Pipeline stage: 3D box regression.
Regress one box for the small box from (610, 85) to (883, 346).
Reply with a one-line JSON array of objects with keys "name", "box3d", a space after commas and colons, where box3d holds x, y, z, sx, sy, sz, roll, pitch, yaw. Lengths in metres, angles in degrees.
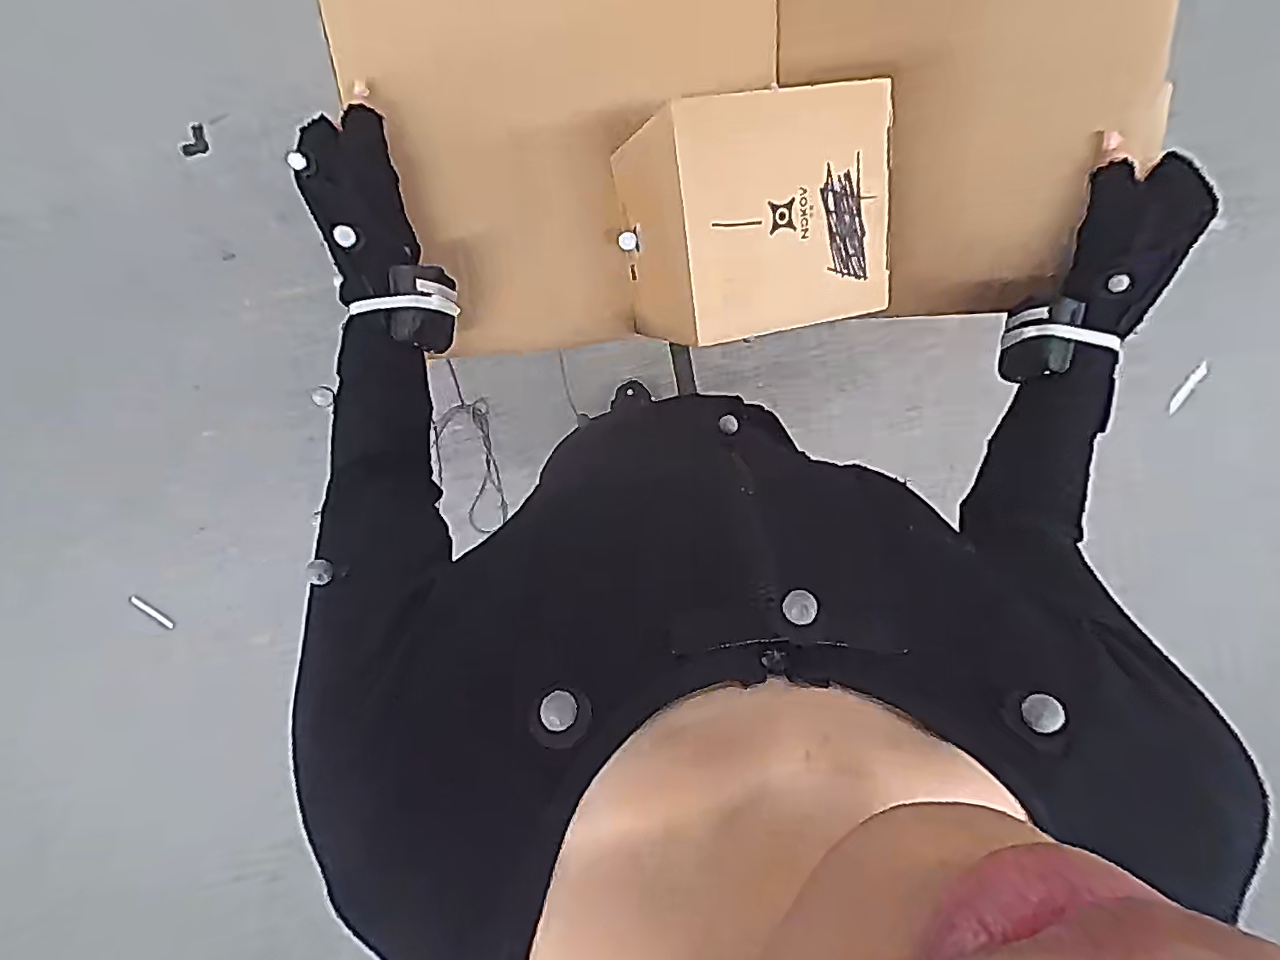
[{"name": "small box", "box3d": [0.086, -0.223, 0.482, 0.179, 0.176, 0.168, -15, 112, -12]}]
